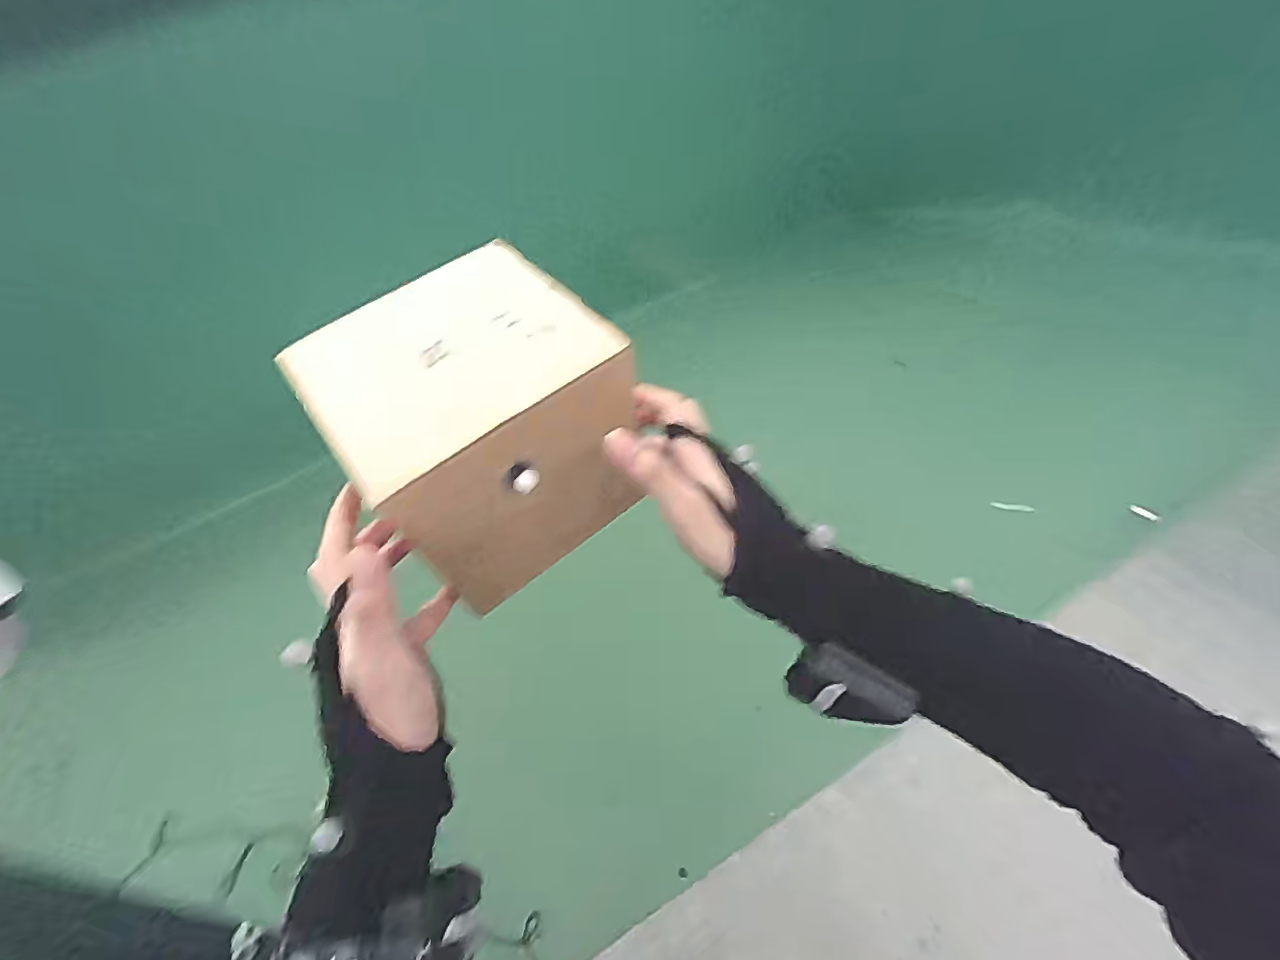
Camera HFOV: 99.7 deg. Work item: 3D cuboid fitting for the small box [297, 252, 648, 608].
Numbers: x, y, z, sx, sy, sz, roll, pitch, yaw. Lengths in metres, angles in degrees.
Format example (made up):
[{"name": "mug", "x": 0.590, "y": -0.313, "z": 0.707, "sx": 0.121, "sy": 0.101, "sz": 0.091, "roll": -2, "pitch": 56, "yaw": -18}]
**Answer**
[{"name": "small box", "x": -0.109, "y": -0.033, "z": 0.415, "sx": 0.179, "sy": 0.176, "sz": 0.168, "roll": -35, "pitch": 59, "yaw": -17}]
